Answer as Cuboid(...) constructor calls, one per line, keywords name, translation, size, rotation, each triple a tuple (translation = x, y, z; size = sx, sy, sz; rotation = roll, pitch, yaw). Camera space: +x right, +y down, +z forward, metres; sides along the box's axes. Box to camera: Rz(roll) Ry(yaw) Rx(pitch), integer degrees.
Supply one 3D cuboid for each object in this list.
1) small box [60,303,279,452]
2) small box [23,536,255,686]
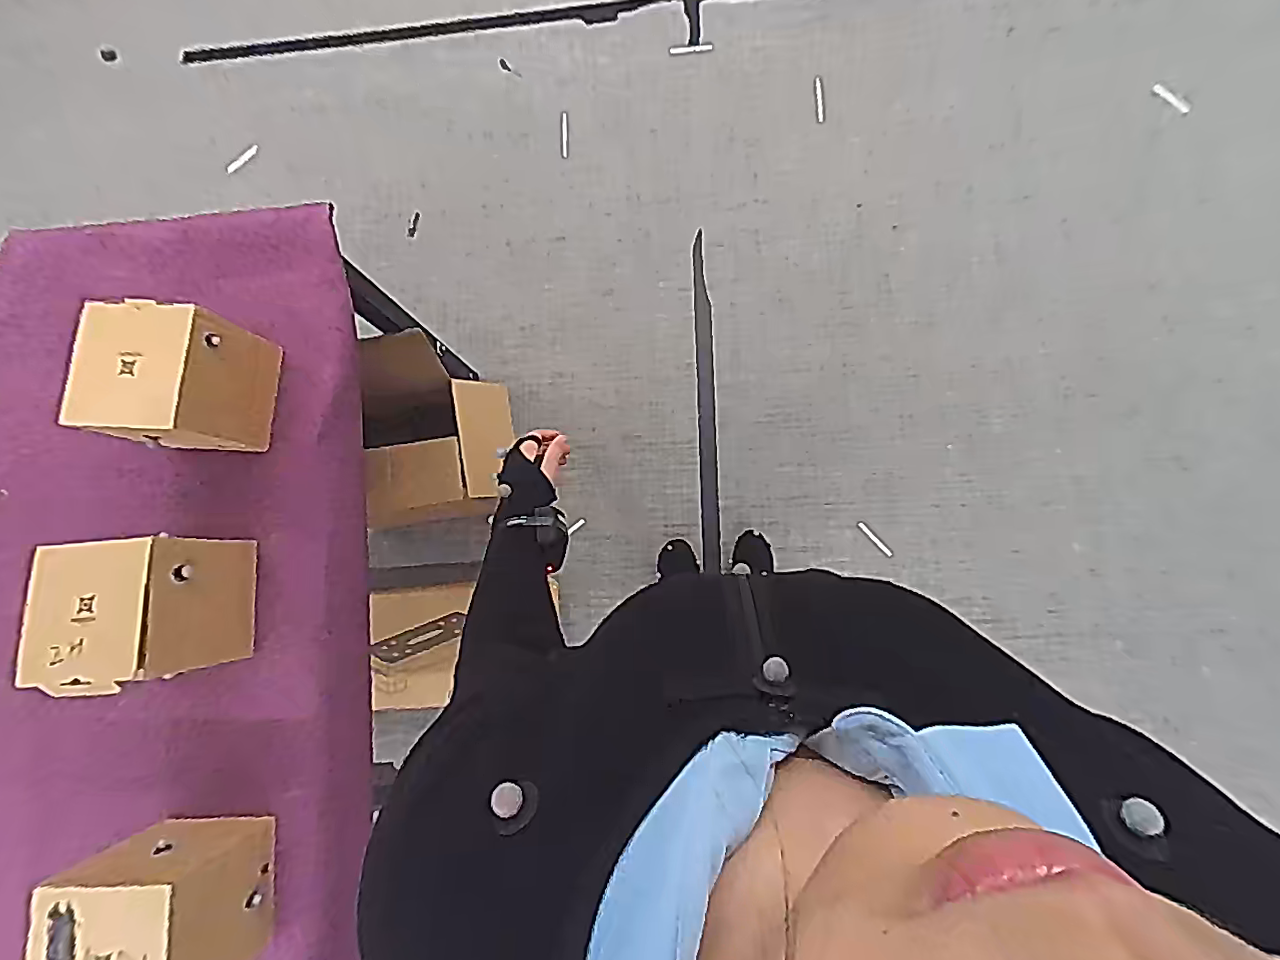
Cuboid(name="small box", translation=(-0.671, -0.141, 0.793), size=(0.168, 0.176, 0.179), rotation=(2, 82, 5))
Cuboid(name="small box", translation=(-0.672, 0.174, 0.747), size=(0.168, 0.176, 0.179), rotation=(-5, 82, 6))
